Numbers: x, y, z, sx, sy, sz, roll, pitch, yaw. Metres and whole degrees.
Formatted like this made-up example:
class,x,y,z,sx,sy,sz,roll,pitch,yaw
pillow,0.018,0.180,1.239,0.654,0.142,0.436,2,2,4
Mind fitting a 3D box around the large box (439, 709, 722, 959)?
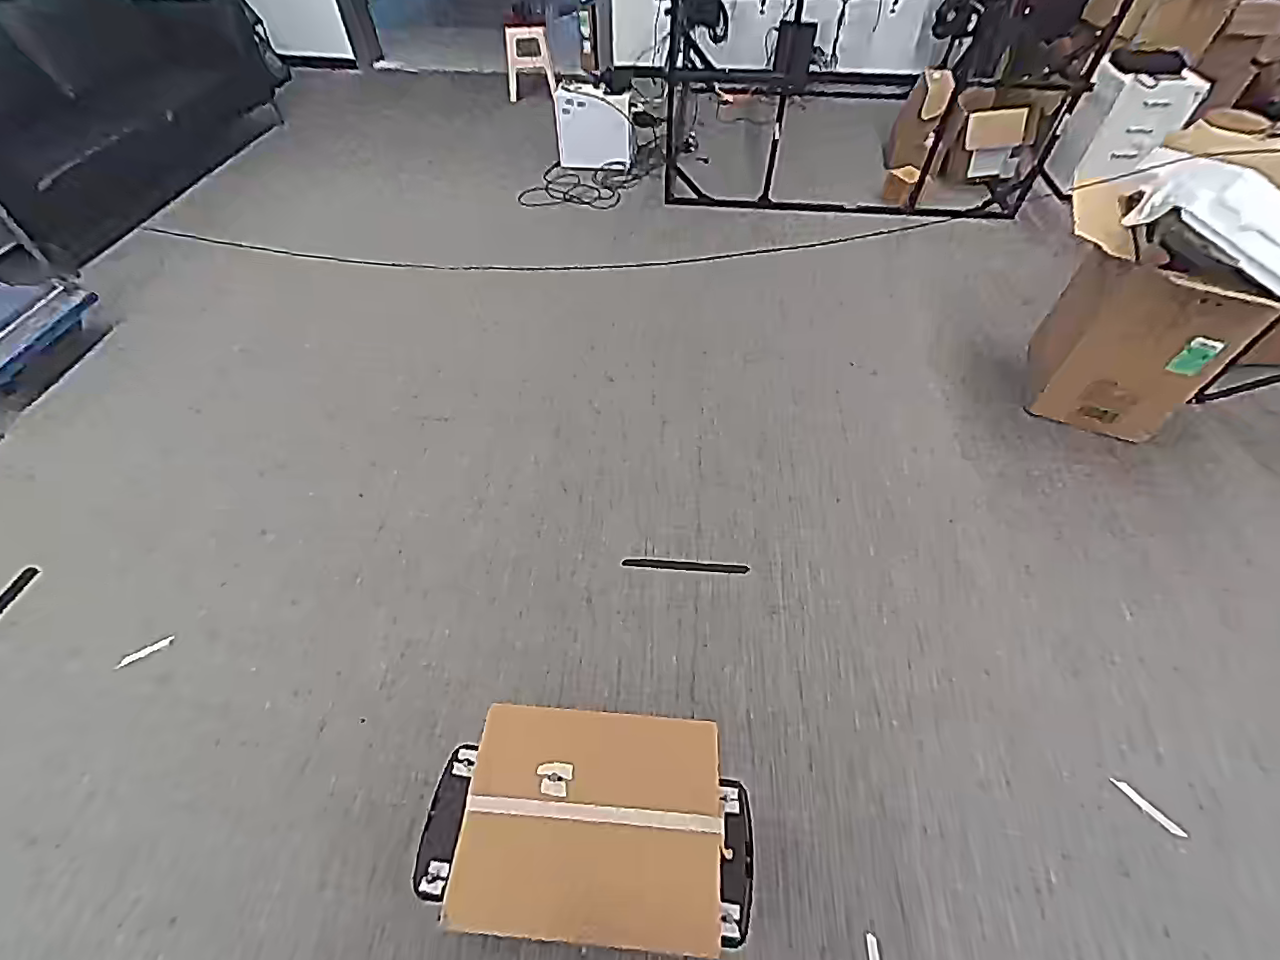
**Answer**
class,x,y,z,sx,sy,sz,roll,pitch,yaw
large box,-0.071,0.621,0.957,0.408,0.320,0.320,3,50,4
